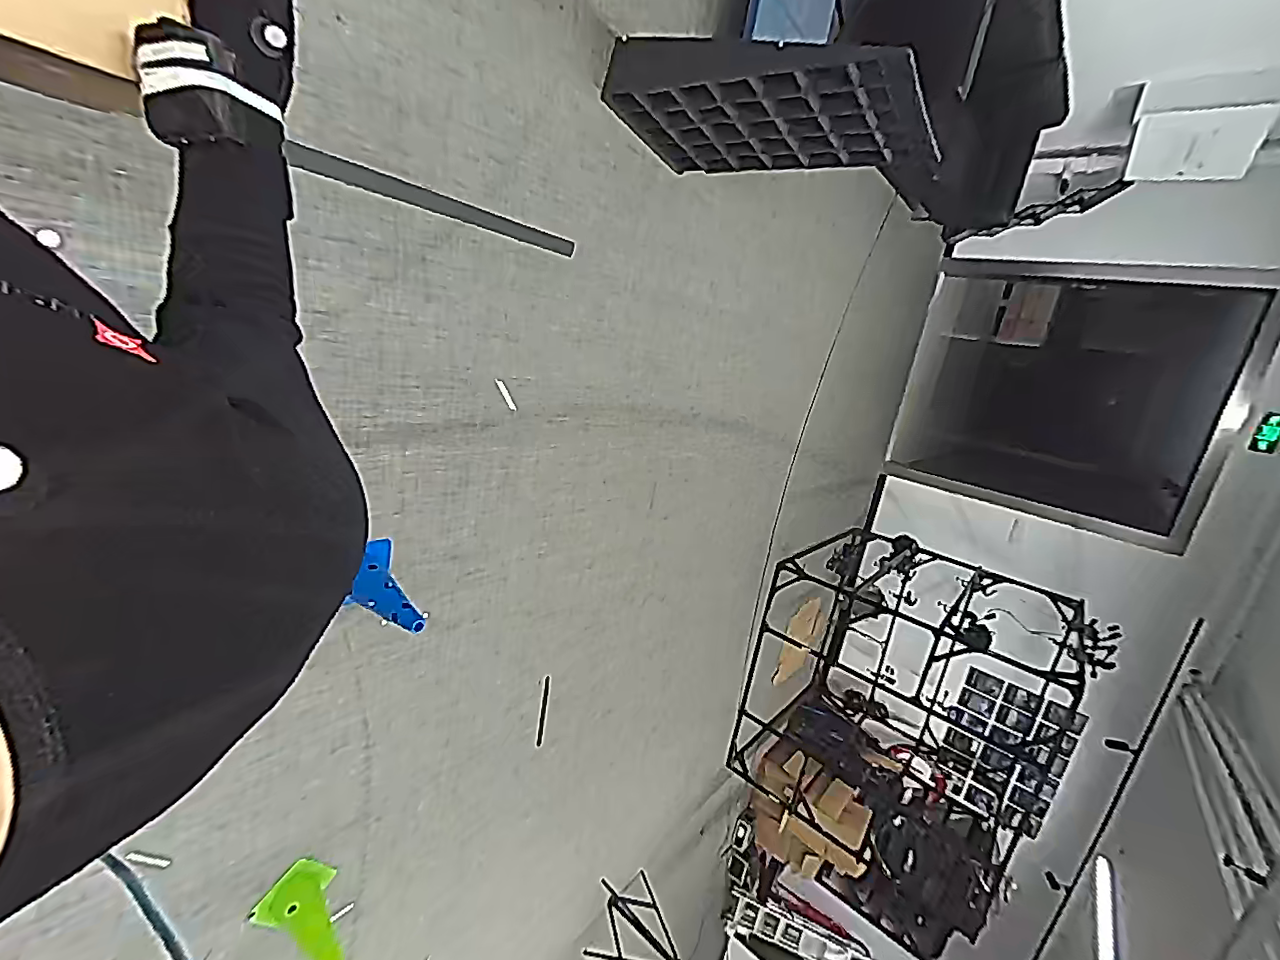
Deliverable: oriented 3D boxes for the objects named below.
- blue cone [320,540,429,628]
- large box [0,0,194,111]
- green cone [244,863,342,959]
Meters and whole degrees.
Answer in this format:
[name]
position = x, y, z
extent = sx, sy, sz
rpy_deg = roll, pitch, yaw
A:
[blue cone]
position = -0.726, 0.324, 1.526
extent = 0.192, 0.380, 0.193
rpy_deg = -3, 109, -54
[large box]
position = -0.532, -0.449, 0.279
extent = 0.408, 0.320, 0.320
rpy_deg = -9, 118, -52
[green cone]
position = -1.006, 1.412, 1.664
extent = 0.202, 0.368, 0.200
rpy_deg = -48, 140, -29
